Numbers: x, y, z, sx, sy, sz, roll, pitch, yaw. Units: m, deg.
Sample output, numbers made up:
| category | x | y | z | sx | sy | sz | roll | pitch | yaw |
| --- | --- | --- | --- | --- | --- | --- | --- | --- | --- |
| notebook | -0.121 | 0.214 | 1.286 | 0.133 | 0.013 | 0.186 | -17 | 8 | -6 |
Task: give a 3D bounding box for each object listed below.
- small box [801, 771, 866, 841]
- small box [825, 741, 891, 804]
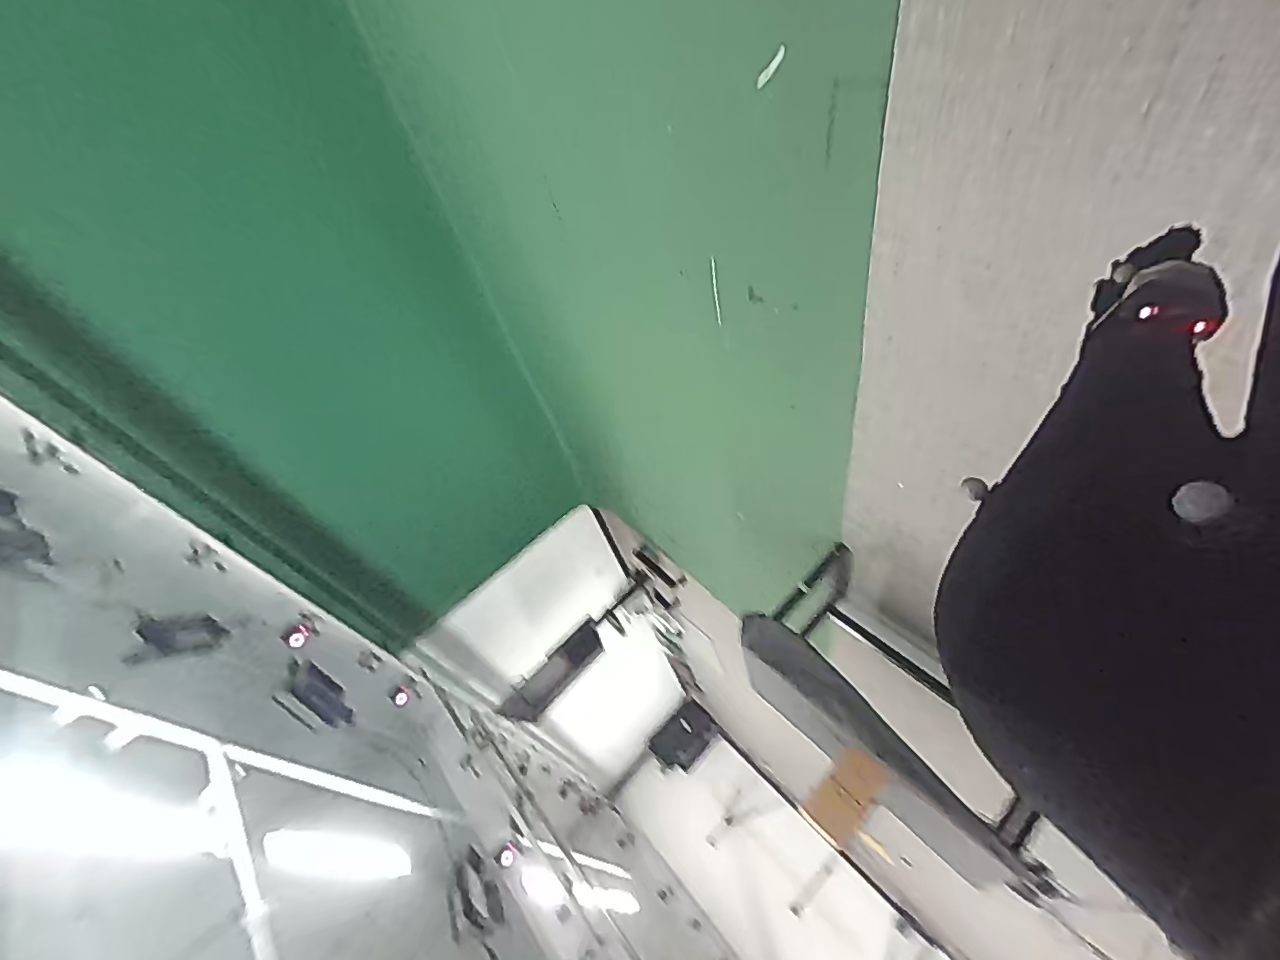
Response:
| category | x | y | z | sx | sy | sz | roll | pitch | yaw |
| --- | --- | --- | --- | --- | --- | --- | --- | --- | --- |
| small box | 0.760 | 1.280 | 2.136 | 0.179 | 0.176 | 0.168 | 38 | 161 | 34 |
| small box | 0.878 | 1.182 | 2.186 | 0.179 | 0.176 | 0.168 | 39 | 162 | 32 |
